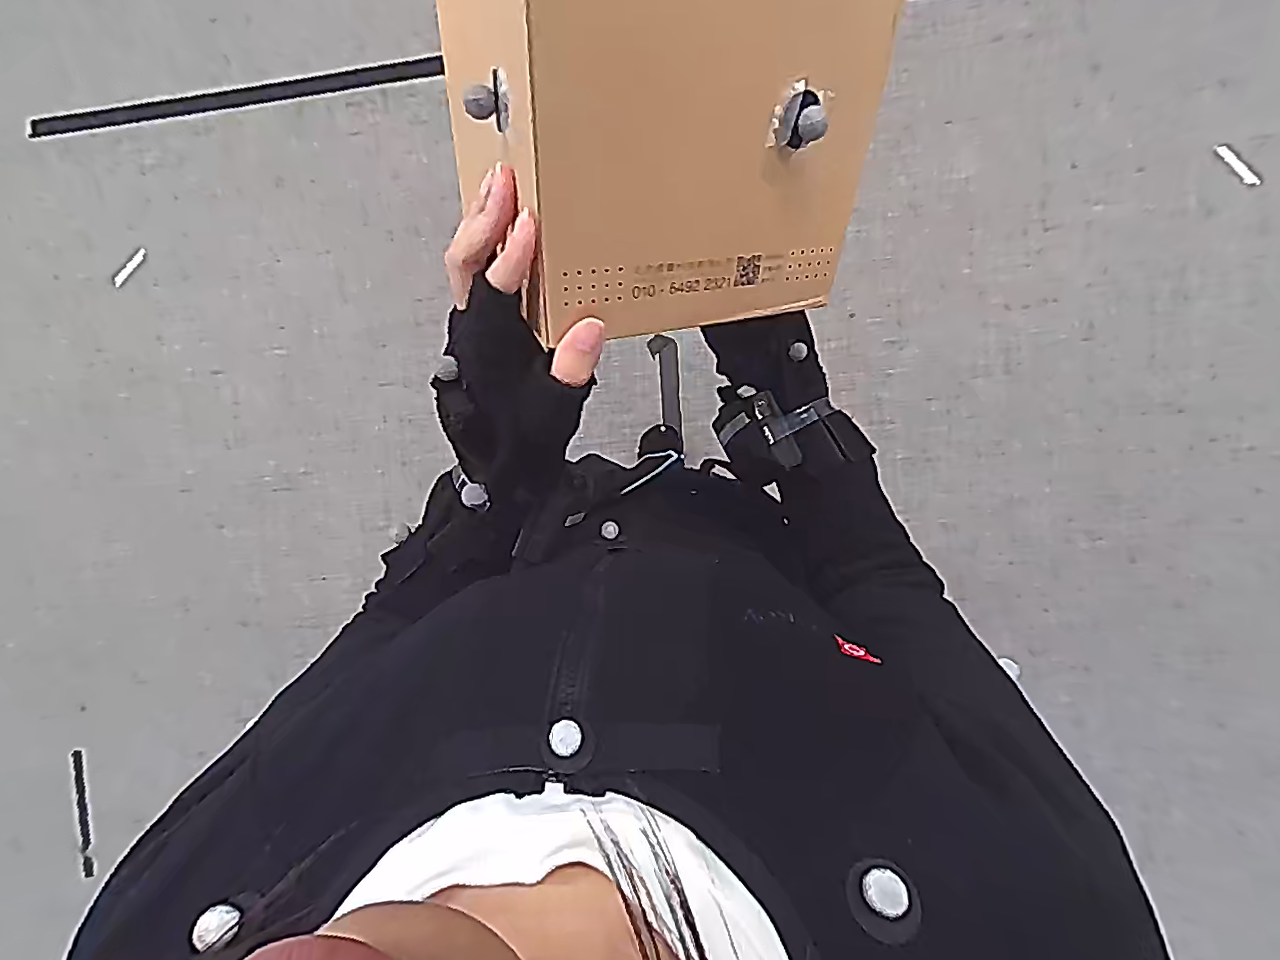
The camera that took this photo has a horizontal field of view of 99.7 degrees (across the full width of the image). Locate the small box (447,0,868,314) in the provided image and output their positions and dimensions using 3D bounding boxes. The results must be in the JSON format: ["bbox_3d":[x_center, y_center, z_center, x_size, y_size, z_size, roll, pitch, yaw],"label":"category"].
[{"bbox_3d":[-0.002,-0.200,0.303,0.168,0.179,0.176,-13,131,-21],"label":"small box"}]
